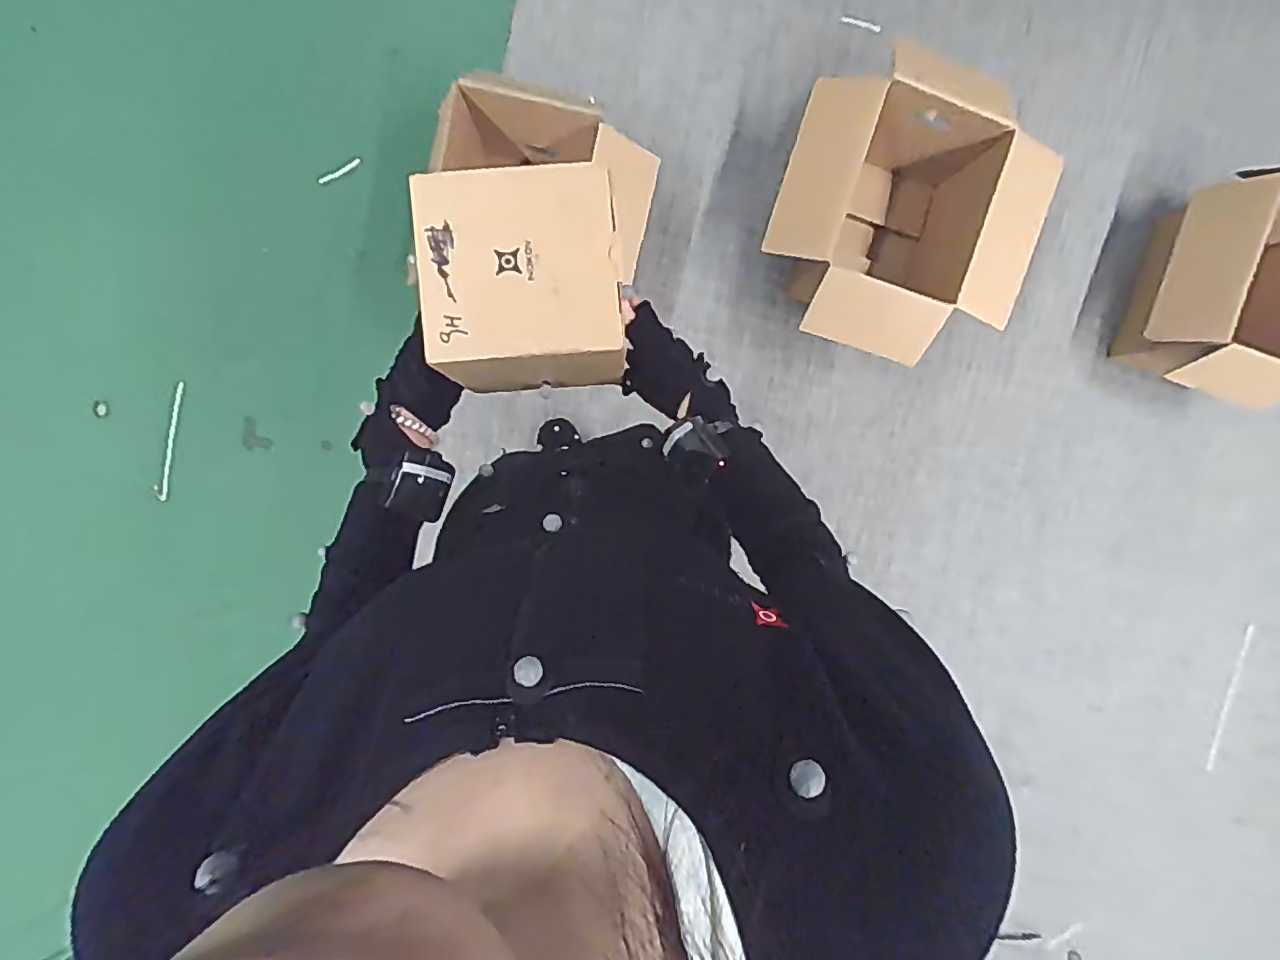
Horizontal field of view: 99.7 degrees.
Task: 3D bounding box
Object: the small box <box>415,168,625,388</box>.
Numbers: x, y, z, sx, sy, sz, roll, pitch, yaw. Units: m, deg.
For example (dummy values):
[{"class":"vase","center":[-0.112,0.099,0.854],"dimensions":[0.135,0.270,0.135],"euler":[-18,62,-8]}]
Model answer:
[{"class":"small box","center":[-0.111,-0.192,0.556],"dimensions":[0.179,0.176,0.168],"euler":[-4,90,-4]}]
